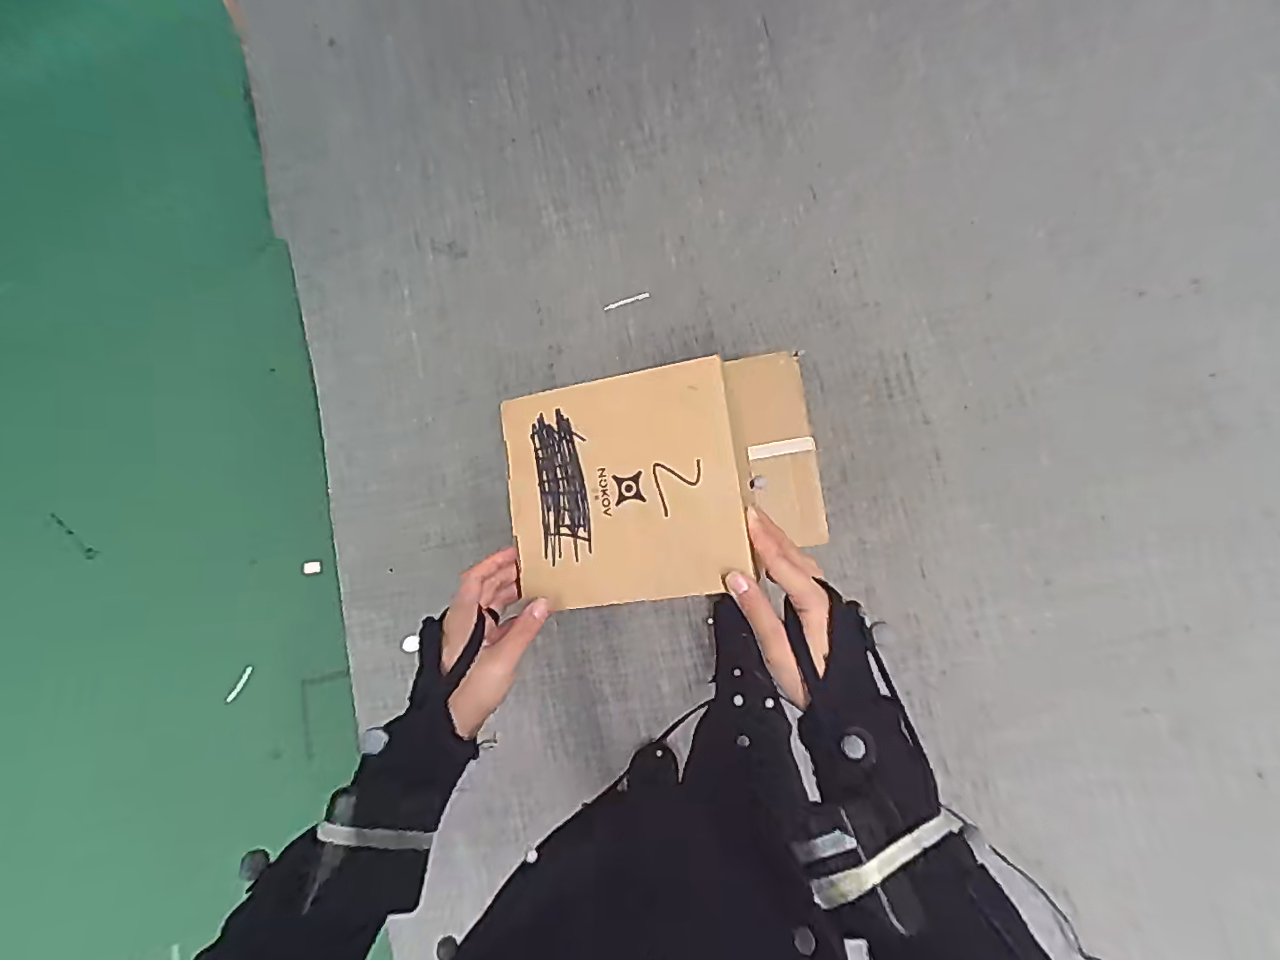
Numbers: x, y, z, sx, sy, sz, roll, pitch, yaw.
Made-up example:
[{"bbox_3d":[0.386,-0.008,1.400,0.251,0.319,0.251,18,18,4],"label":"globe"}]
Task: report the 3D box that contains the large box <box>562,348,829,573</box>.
[{"bbox_3d":[0.107,-0.014,1.023,0.408,0.320,0.320,-9,84,11],"label":"large box"}]
